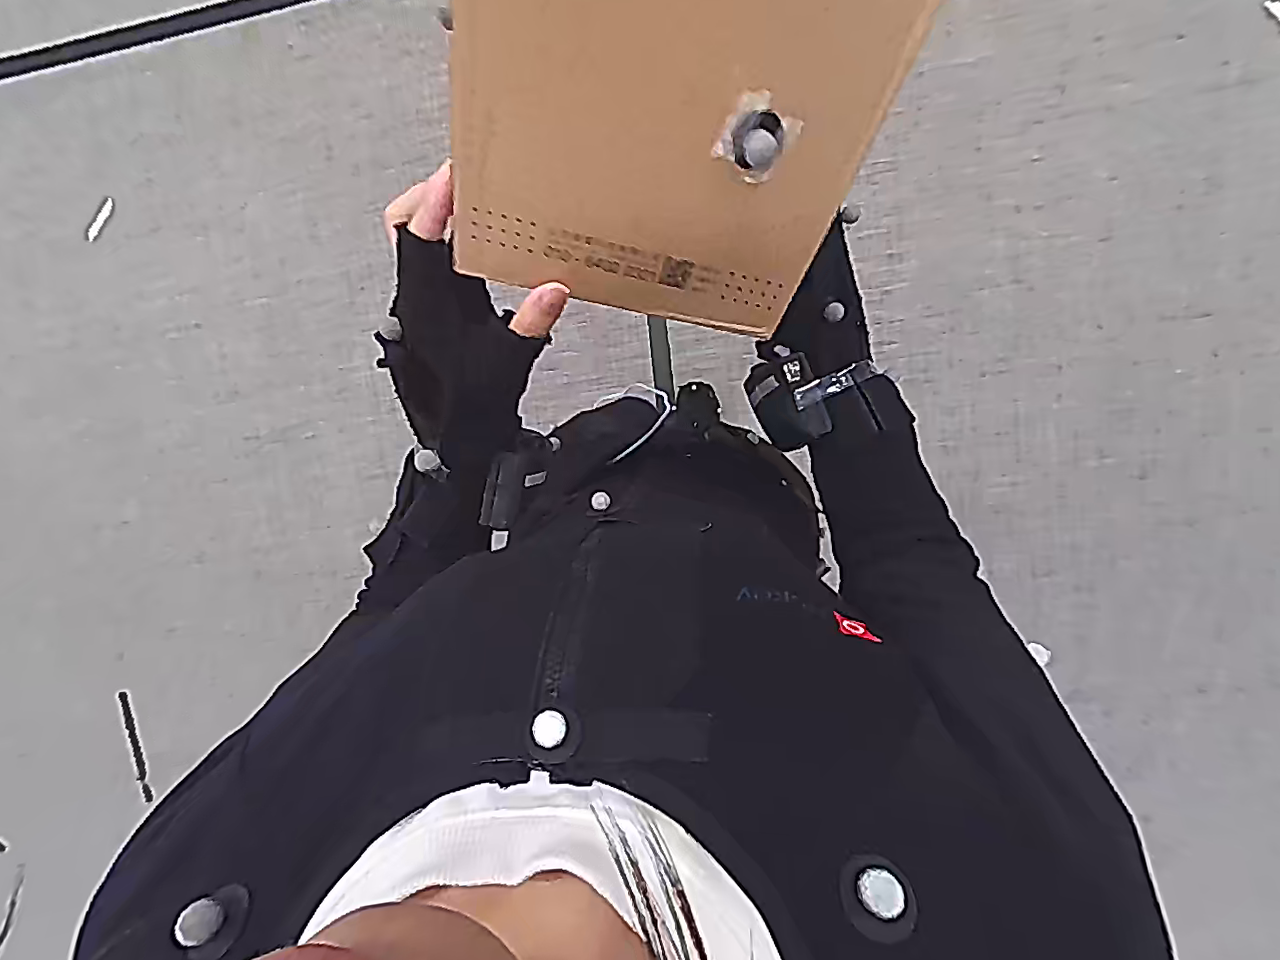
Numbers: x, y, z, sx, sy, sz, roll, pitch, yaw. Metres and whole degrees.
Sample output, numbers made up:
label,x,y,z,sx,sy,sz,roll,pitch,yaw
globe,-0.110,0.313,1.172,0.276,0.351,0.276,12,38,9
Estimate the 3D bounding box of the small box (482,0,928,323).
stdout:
label,x,y,z,sx,sy,sz,roll,pitch,yaw
small box,0.013,-0.210,0.287,0.168,0.179,0.176,9,139,-13
